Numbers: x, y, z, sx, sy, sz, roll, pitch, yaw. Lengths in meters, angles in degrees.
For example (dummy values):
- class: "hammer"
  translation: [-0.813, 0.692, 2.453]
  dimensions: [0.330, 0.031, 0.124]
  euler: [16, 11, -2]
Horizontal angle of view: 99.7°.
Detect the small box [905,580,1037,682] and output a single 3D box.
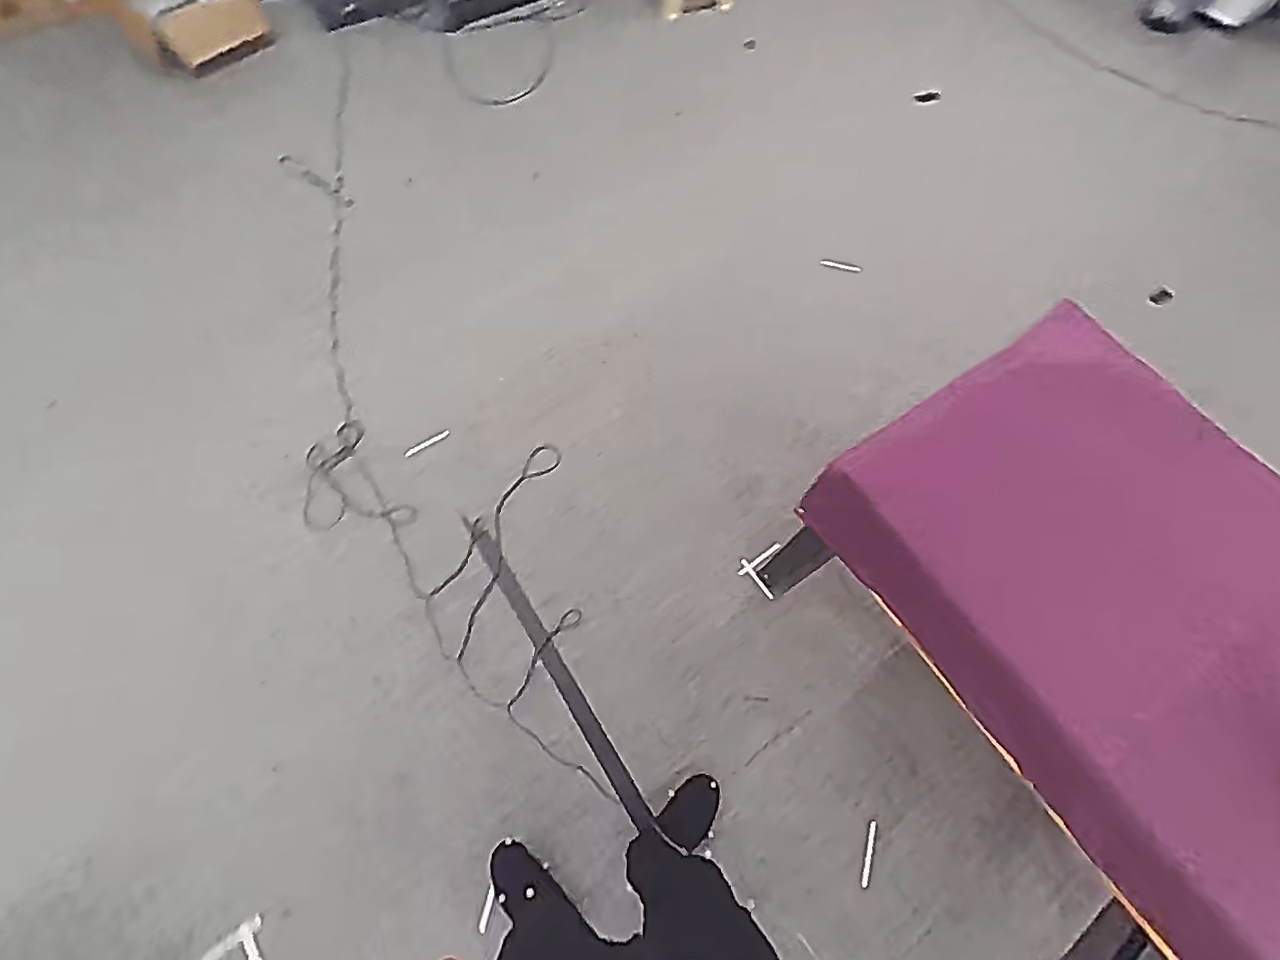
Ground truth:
- class: "small box"
  translation: [0.793, 0.374, 1.316]
  dimensions: [0.168, 0.176, 0.179]
  euler: [-33, 74, -15]
